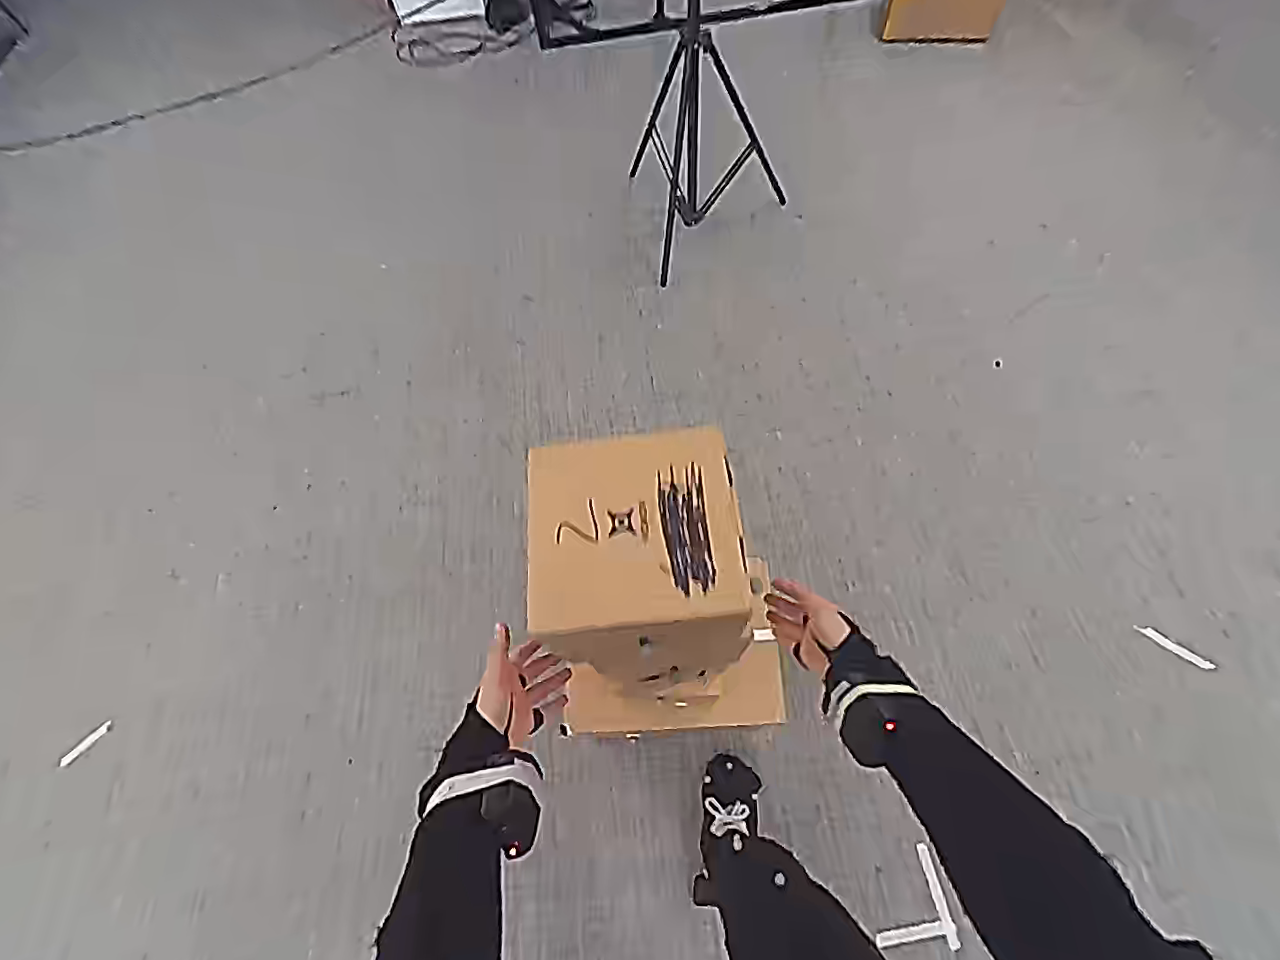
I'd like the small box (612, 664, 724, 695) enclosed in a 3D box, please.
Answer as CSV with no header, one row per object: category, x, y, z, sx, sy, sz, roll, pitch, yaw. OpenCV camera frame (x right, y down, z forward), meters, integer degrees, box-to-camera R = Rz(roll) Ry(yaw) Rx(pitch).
small box,0.030,0.215,0.812,0.168,0.176,0.179,-14,63,-4

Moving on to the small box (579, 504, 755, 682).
small box,0.027,0.145,0.664,0.179,0.176,0.168,-9,64,-1

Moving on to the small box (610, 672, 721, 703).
small box,0.047,0.299,0.951,0.179,0.176,0.168,0,64,3
